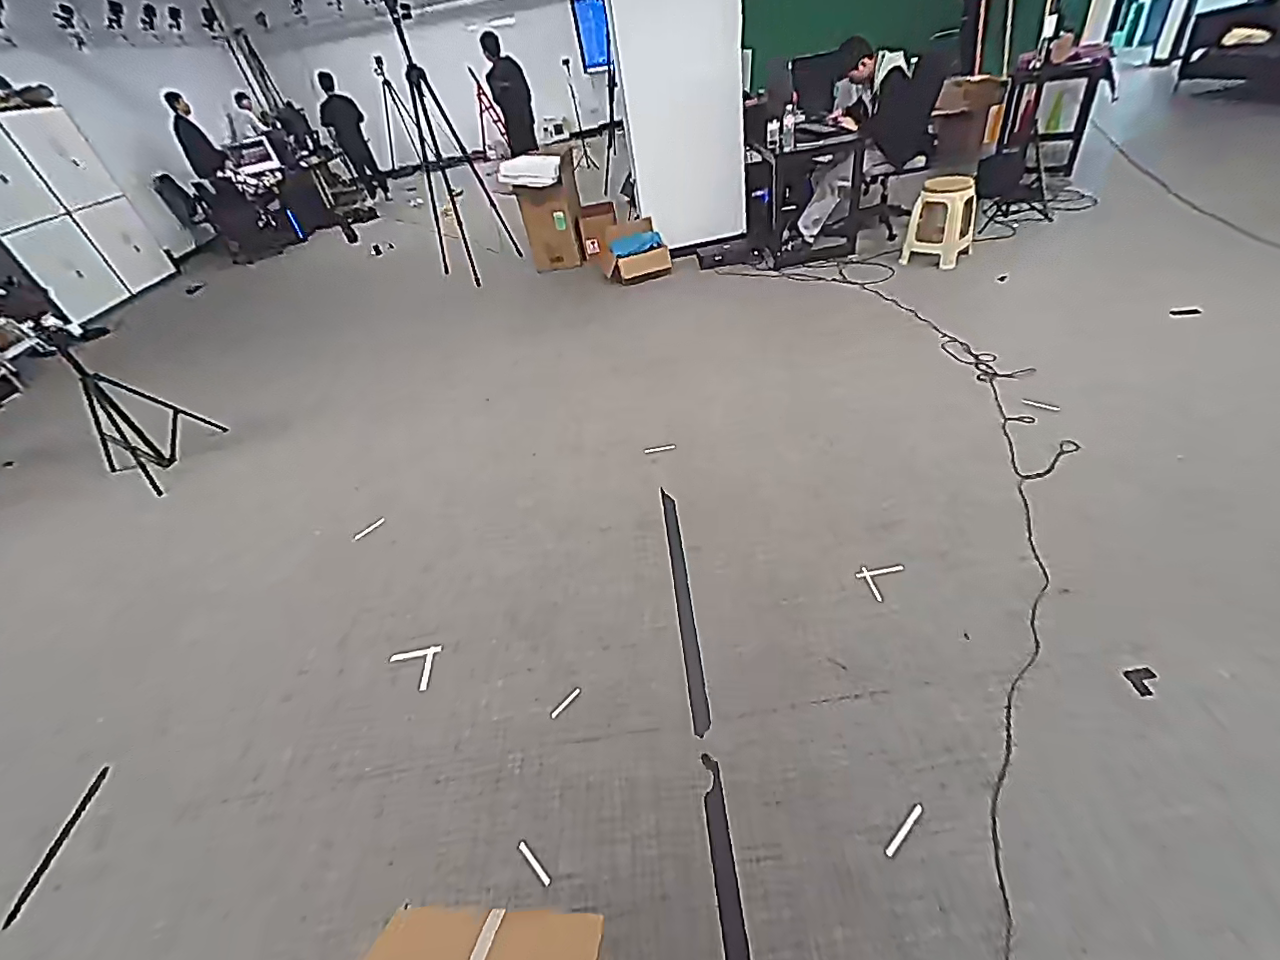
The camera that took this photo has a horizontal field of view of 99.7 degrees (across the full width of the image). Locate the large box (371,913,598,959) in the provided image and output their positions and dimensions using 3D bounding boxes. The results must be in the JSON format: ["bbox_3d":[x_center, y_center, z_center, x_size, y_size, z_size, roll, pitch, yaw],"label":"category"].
[{"bbox_3d":[-0.224,0.800,0.606,0.320,0.320,0.408,-1,-2,5],"label":"large box"}]
